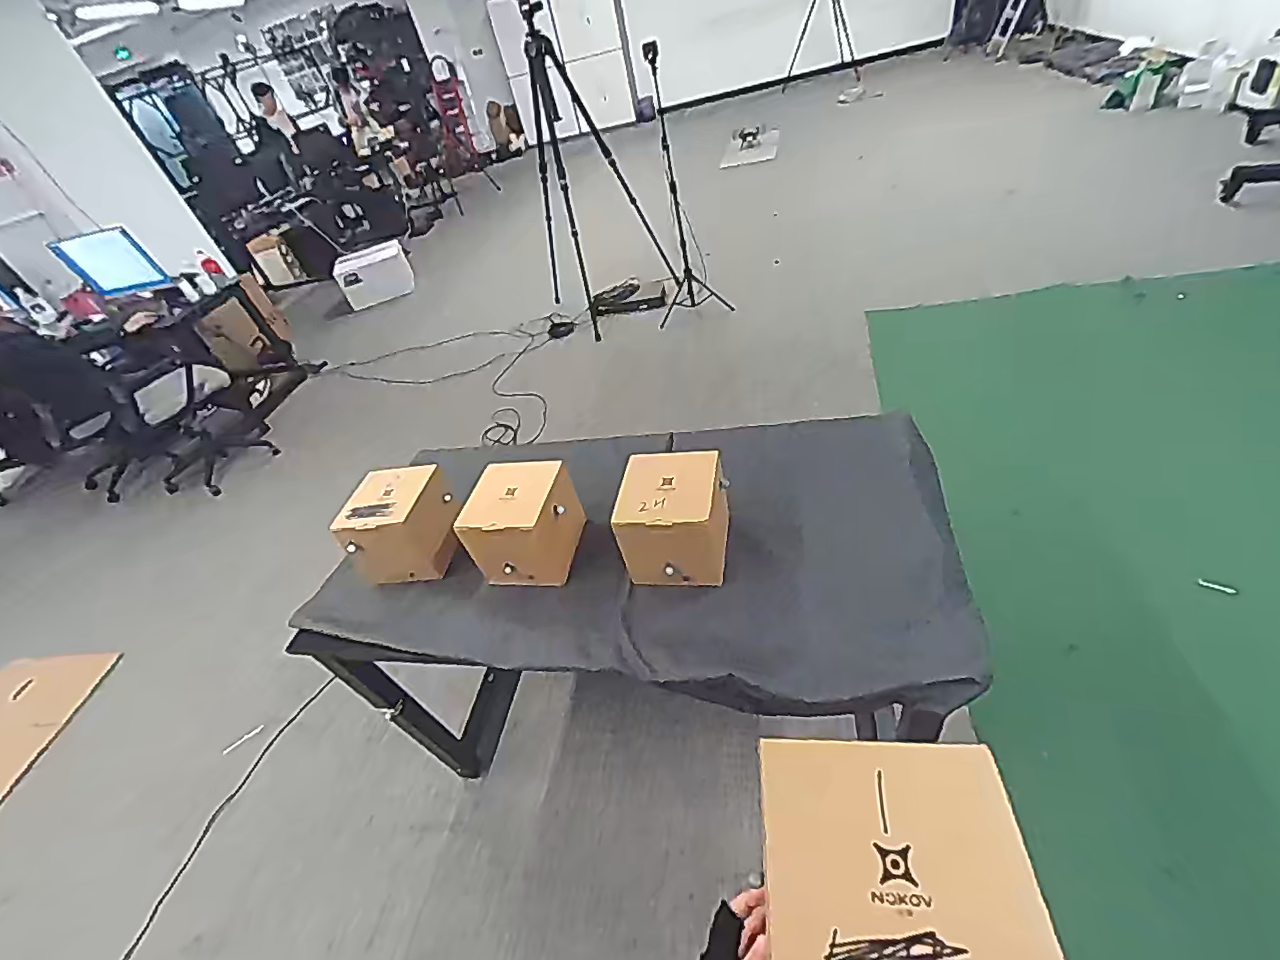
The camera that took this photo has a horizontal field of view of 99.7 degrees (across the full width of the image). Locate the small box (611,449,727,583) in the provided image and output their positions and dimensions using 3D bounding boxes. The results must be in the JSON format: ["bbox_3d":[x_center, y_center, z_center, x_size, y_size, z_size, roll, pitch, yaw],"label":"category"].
[{"bbox_3d":[0.062,0.063,0.975,0.168,0.176,0.179,-2,43,17],"label":"small box"}]

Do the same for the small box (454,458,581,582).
[{"bbox_3d":[-0.225,0.076,1.056,0.168,0.176,0.179,-1,44,16],"label":"small box"}]

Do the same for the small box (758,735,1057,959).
[{"bbox_3d":[0.179,0.315,0.402,0.168,0.176,0.179,-4,42,12],"label":"small box"}]
